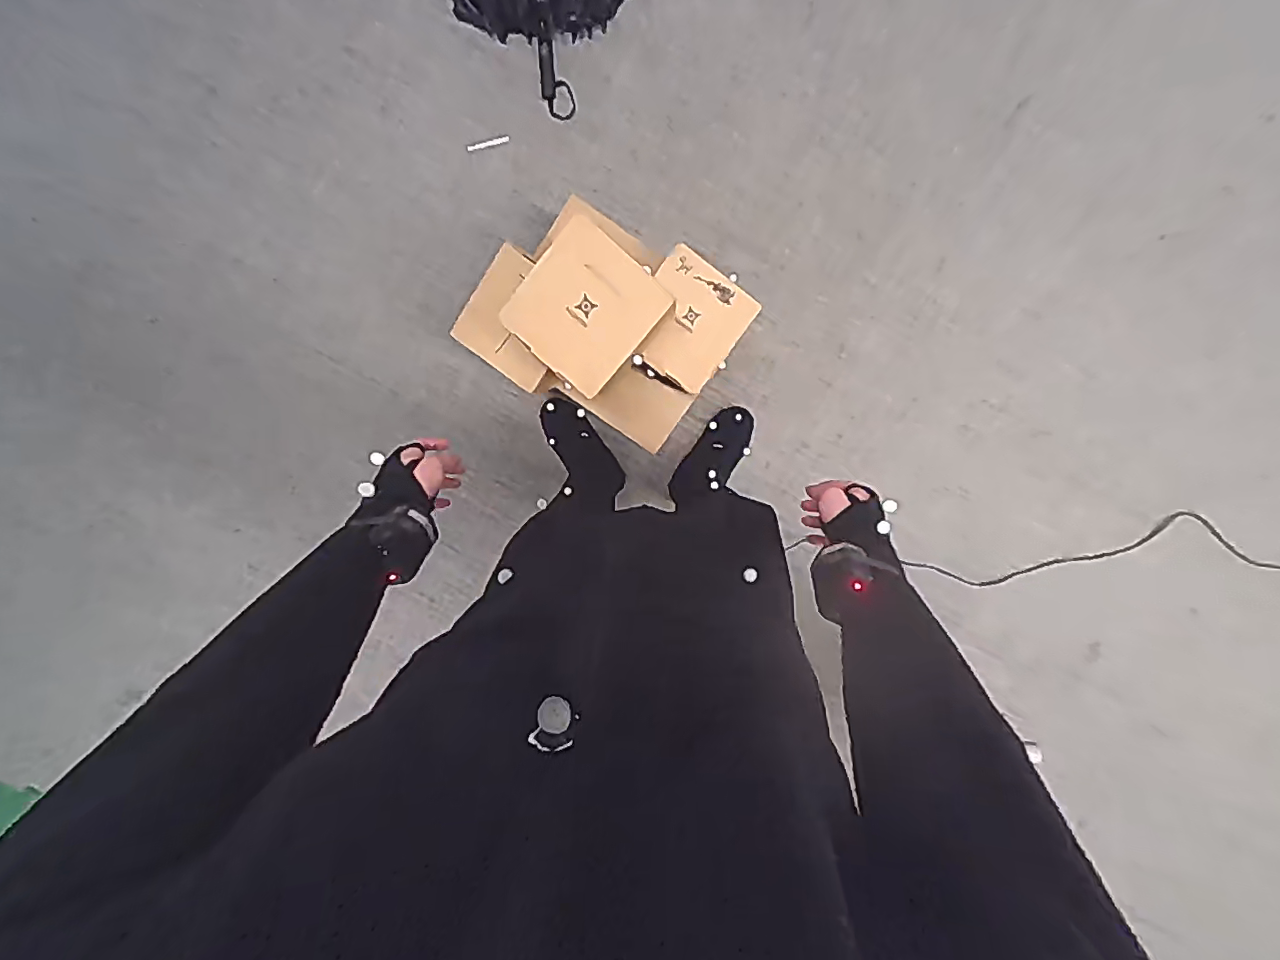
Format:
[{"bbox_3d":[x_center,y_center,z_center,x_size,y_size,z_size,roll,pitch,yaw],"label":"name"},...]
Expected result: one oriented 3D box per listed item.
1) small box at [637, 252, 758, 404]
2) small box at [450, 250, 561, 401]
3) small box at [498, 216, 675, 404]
[{"bbox_3d":[0.076,-0.247,0.924,0.168,0.176,0.179,36,99,-3],"label":"small box"},{"bbox_3d":[-0.187,-0.258,0.934,0.168,0.176,0.179,37,102,-4],"label":"small box"},{"bbox_3d":[-0.066,-0.225,0.767,0.168,0.176,0.179,40,98,-5],"label":"small box"}]
